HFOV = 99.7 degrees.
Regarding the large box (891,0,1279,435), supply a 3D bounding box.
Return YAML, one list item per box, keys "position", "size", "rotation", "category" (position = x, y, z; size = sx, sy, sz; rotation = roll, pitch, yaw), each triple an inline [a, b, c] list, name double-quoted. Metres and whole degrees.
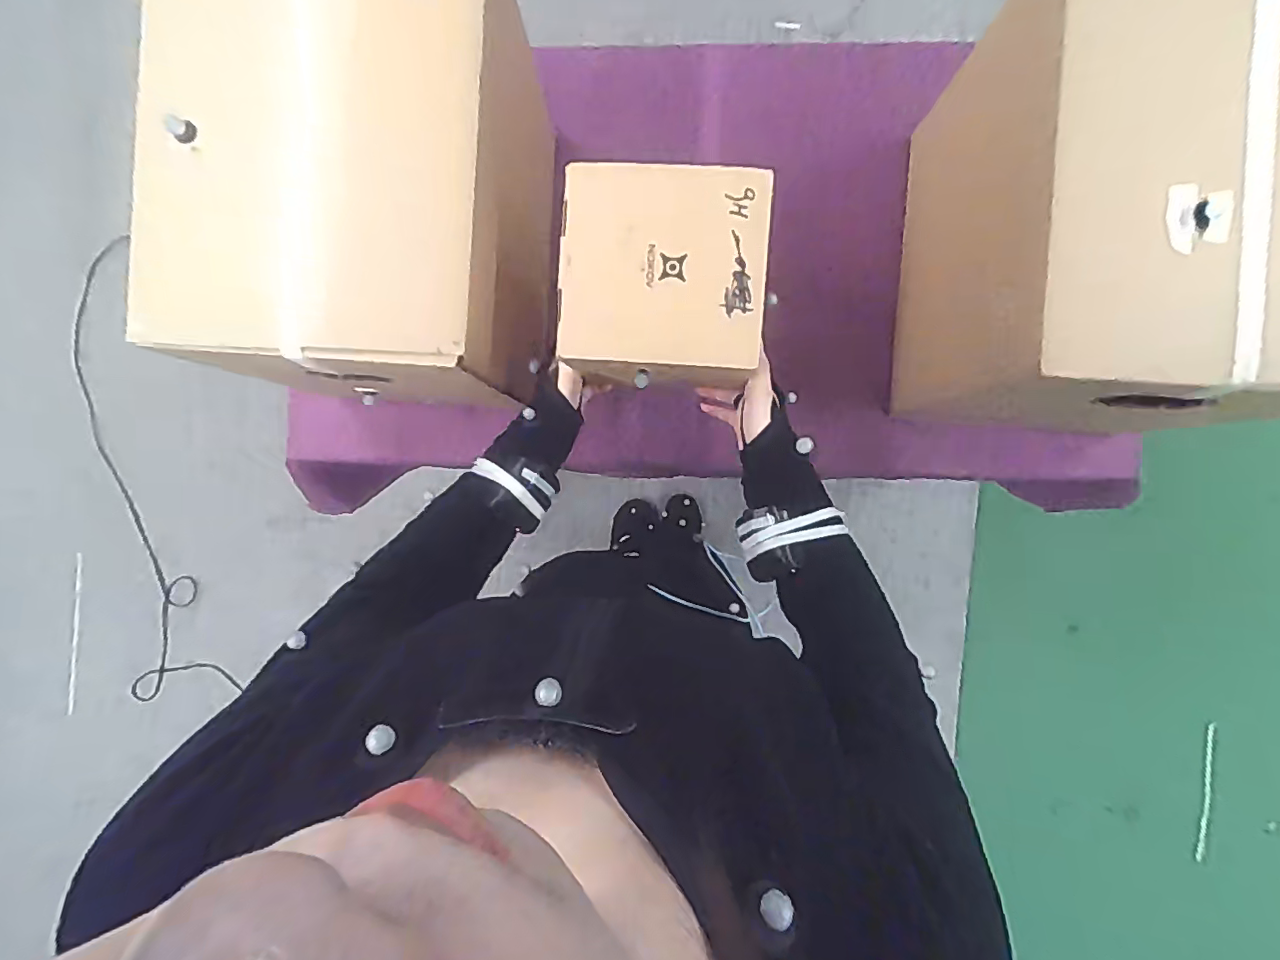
- position: [0.515, -0.271, 0.615]
  size: [0.320, 0.320, 0.408]
  rotation: [5, 91, 2]
  category: "large box"
